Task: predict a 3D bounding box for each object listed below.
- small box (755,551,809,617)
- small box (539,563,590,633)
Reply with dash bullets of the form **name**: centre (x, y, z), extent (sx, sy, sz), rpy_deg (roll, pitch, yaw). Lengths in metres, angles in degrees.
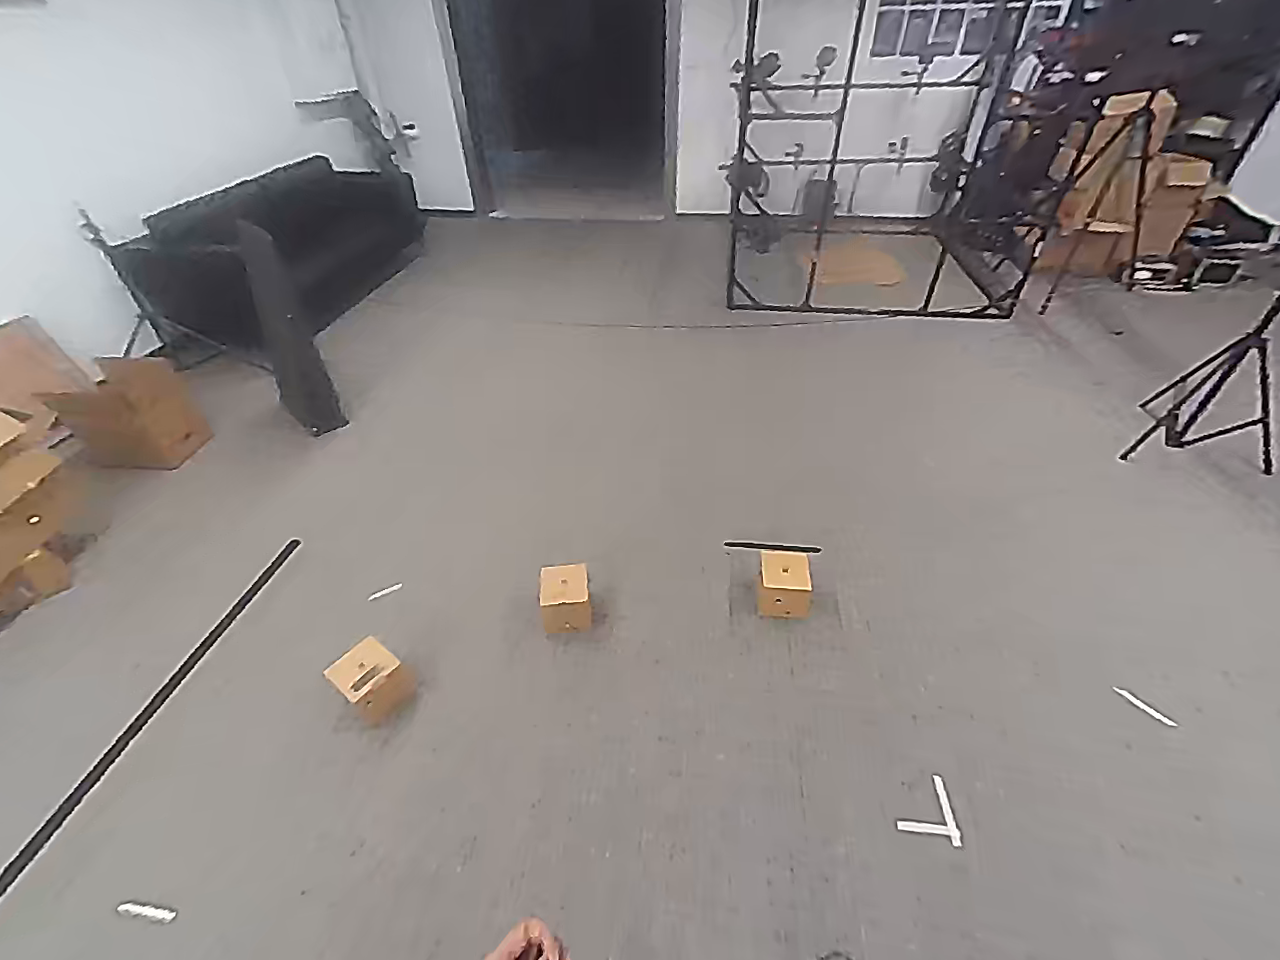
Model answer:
- **small box**: centre (0.516, 0.384, 1.981), extent (0.168, 0.176, 0.179), rpy_deg (3, 39, 6)
- **small box**: centre (-0.268, 0.426, 1.951), extent (0.168, 0.176, 0.179), rpy_deg (-5, 40, -4)
